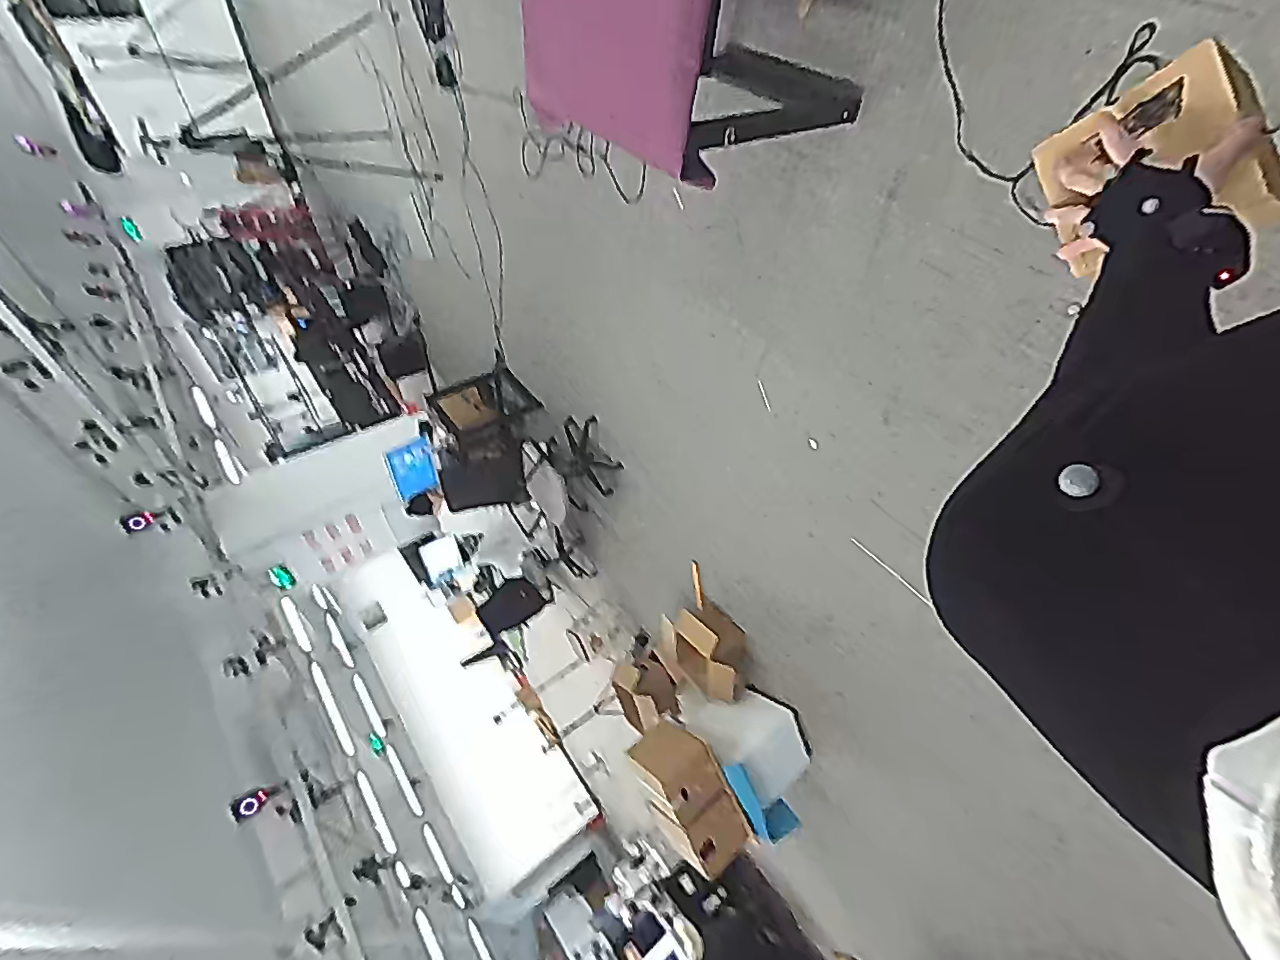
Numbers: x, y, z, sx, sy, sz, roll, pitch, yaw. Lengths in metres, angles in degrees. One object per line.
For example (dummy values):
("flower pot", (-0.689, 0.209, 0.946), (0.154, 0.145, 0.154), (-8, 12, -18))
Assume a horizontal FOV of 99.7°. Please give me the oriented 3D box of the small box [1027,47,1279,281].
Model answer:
("small box", (0.618, -0.360, 0.657), (0.168, 0.176, 0.179), (-22, 81, 57))
